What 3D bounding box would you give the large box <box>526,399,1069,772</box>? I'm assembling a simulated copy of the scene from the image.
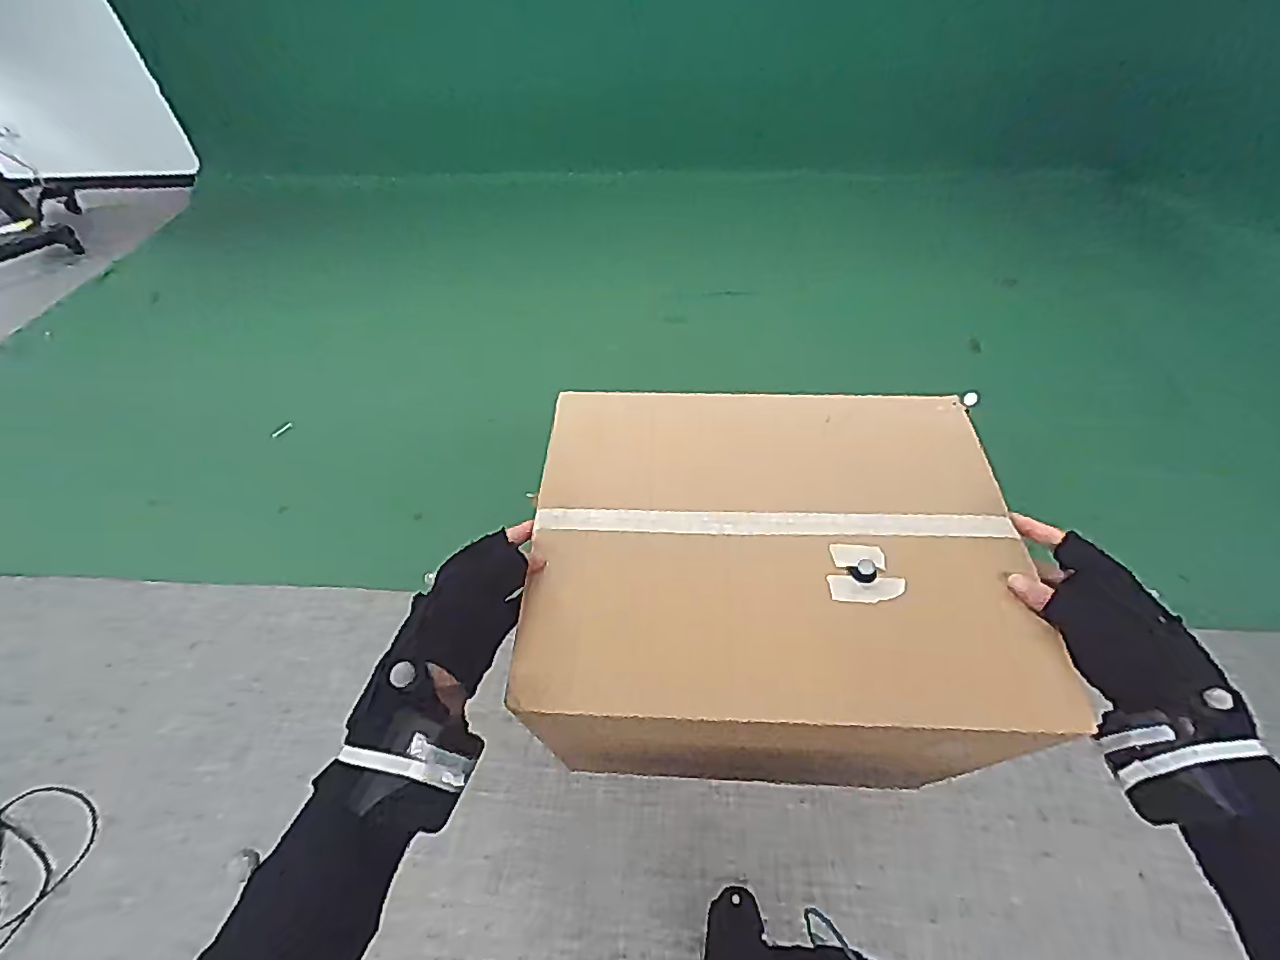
[{"bbox_3d":[0.117,0.129,0.598,0.408,0.320,0.320,0,55,3],"label":"large box"}]
